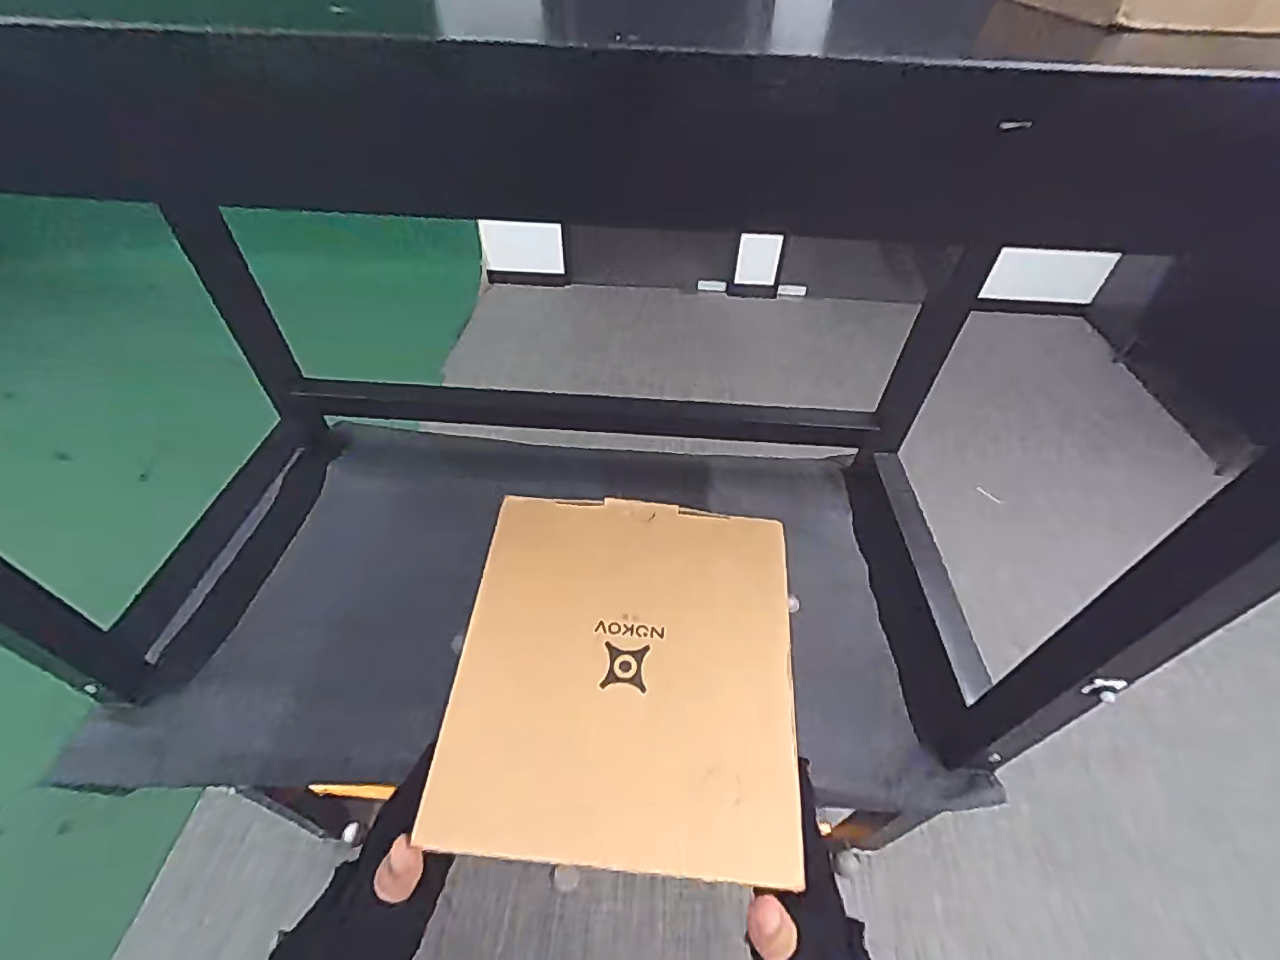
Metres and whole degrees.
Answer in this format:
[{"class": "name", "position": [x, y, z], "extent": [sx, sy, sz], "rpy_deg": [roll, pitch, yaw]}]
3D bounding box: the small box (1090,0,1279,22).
[{"class": "small box", "position": [0.309, -0.315, 0.232], "extent": [0.168, 0.176, 0.179], "rpy_deg": [7, 47, 6]}]
